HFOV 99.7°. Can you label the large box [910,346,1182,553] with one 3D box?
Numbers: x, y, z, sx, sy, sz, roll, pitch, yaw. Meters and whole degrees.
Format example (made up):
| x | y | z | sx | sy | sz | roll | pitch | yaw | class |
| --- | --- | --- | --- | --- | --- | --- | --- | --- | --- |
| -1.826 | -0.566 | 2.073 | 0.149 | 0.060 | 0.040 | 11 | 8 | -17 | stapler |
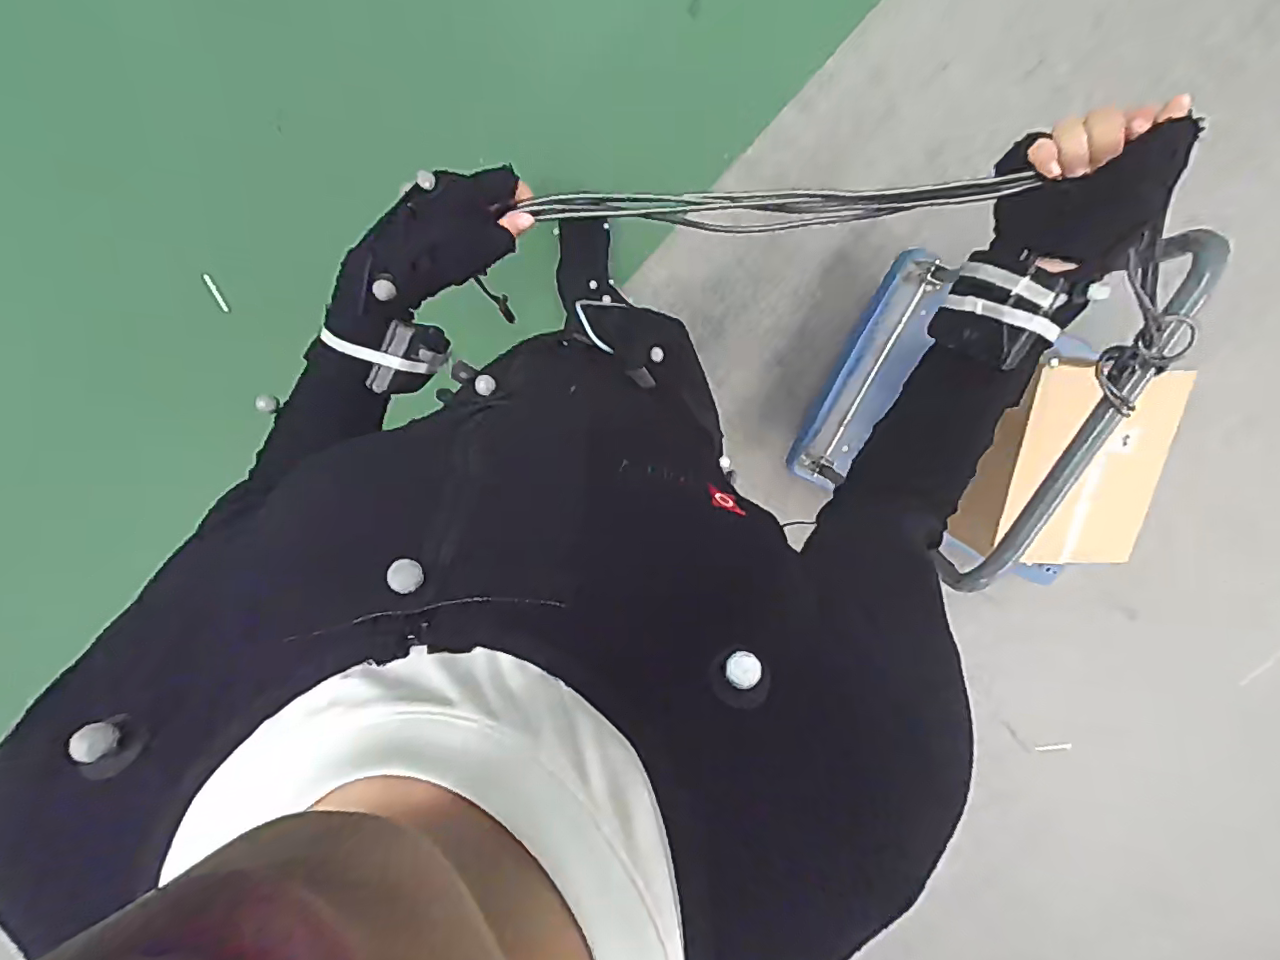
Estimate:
| x | y | z | sx | sy | sz | roll | pitch | yaw | class |
| --- | --- | --- | --- | --- | --- | --- | --- | --- | --- |
| 0.866 | -0.080 | 1.220 | 0.320 | 0.320 | 0.408 | 2 | 108 | -6 | large box |
